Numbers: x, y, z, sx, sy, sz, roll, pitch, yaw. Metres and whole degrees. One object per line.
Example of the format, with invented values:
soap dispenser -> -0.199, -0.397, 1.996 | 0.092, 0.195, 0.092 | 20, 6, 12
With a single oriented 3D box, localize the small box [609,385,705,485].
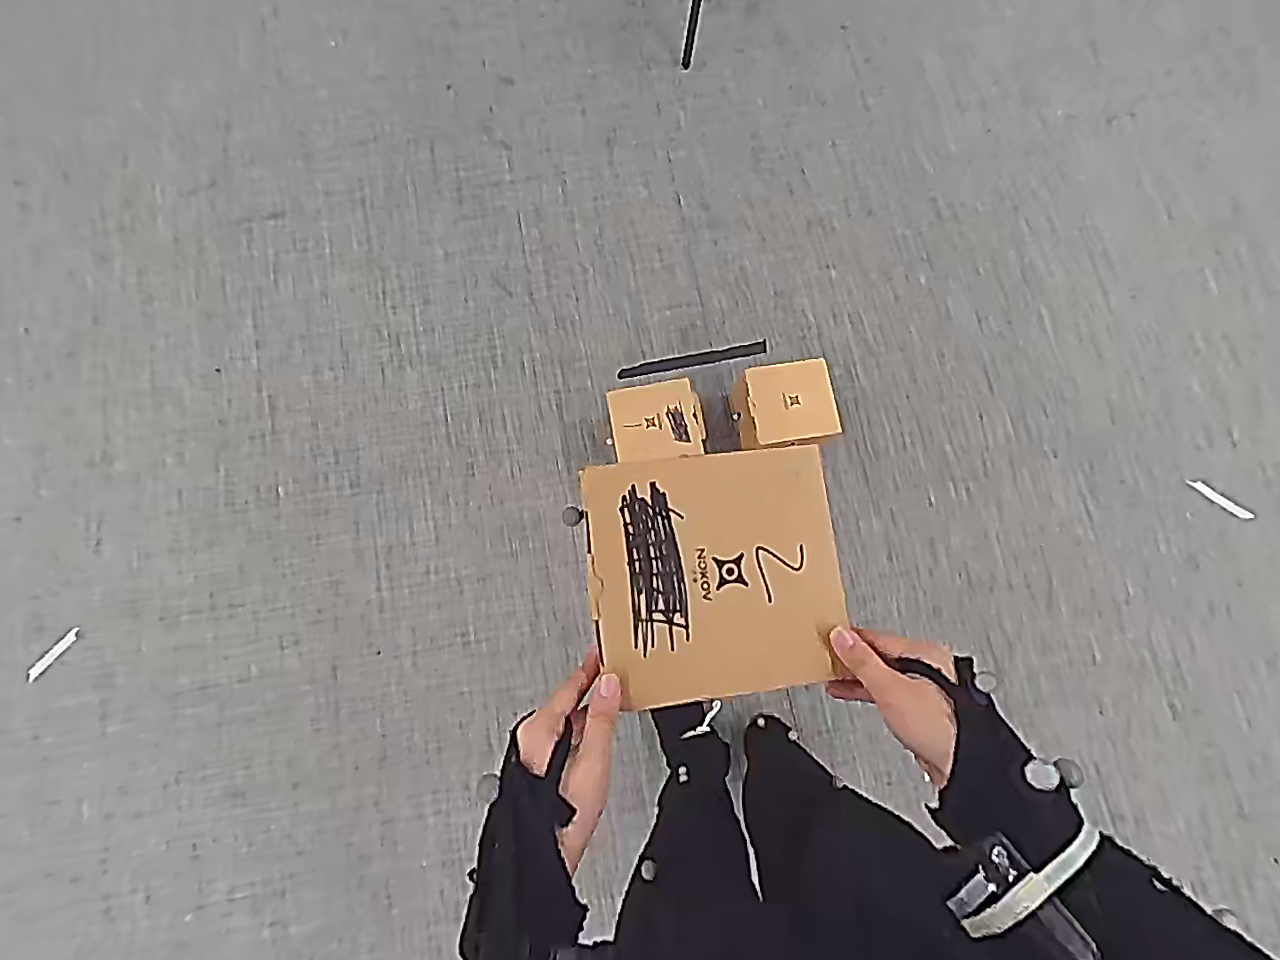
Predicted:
small box -> 0.032, -0.093, 1.181 | 0.179, 0.176, 0.168 | -10, 80, -2

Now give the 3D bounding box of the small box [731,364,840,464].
small box -> 0.312, -0.140, 1.193 | 0.179, 0.176, 0.168 | -9, 80, -2
